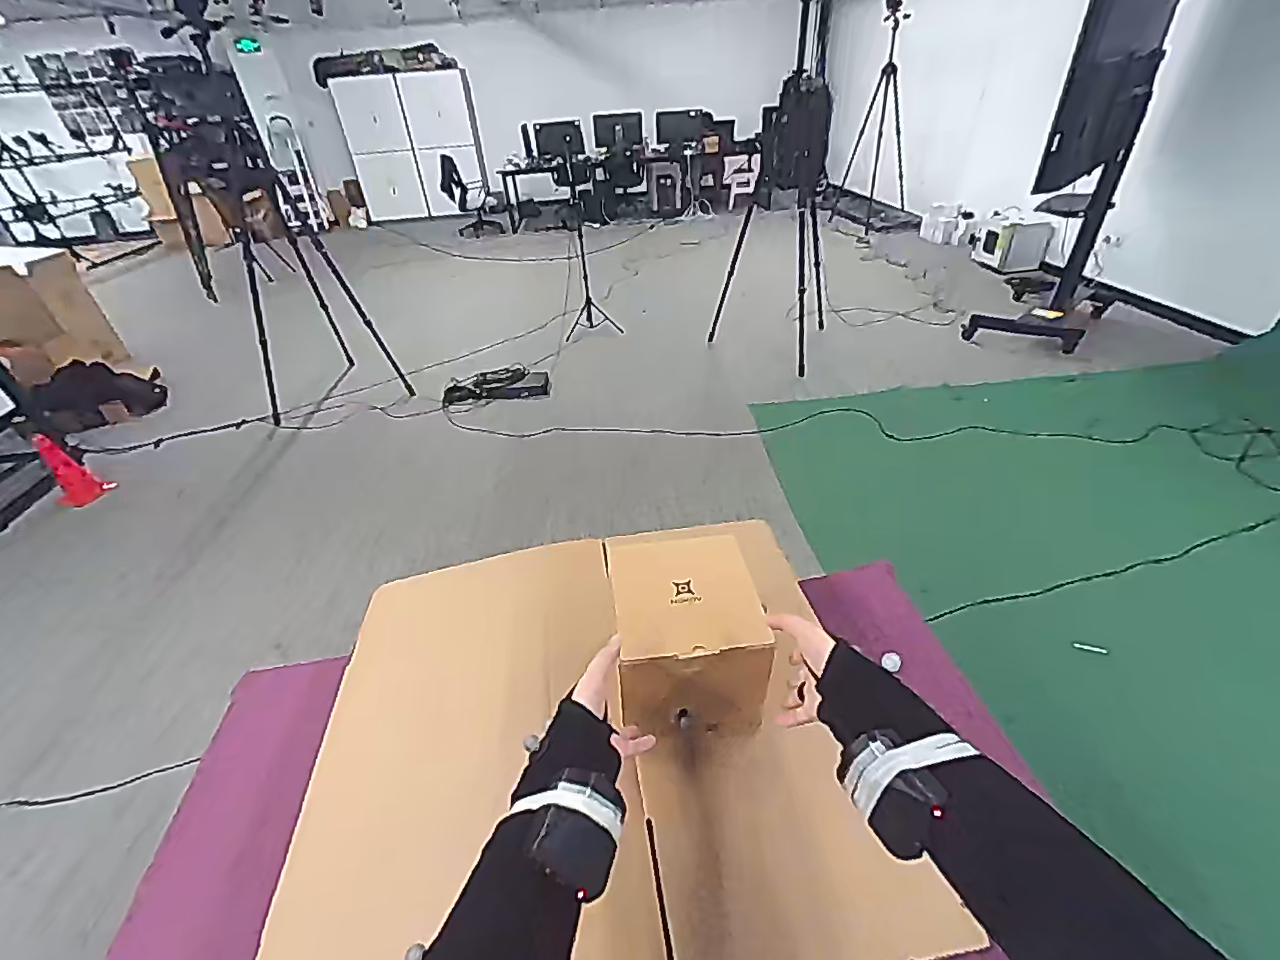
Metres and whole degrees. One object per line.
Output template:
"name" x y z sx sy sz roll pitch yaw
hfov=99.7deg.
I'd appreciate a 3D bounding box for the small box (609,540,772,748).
"small box" 0.050 0.199 0.673 0.168 0.176 0.179 -5 37 -5
